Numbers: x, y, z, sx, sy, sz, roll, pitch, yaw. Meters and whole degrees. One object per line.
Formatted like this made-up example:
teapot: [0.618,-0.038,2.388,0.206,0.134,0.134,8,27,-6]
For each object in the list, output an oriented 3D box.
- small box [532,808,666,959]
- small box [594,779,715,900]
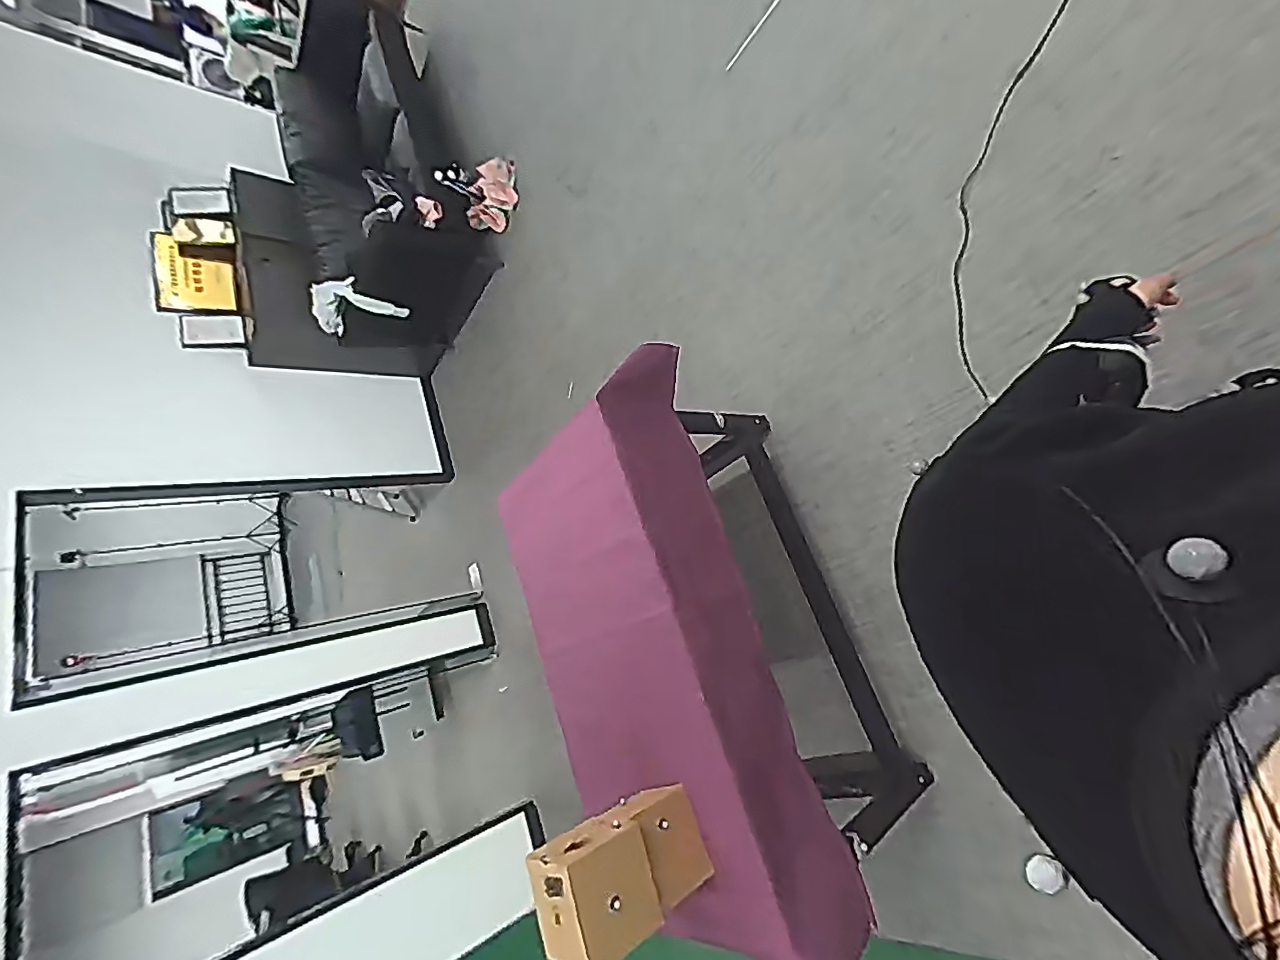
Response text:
small box: [-0.079,0.759,1.040,0.168,0.176,0.179,-33,70,45]
small box: [0.029,0.767,1.167,0.168,0.176,0.179,-40,65,43]
